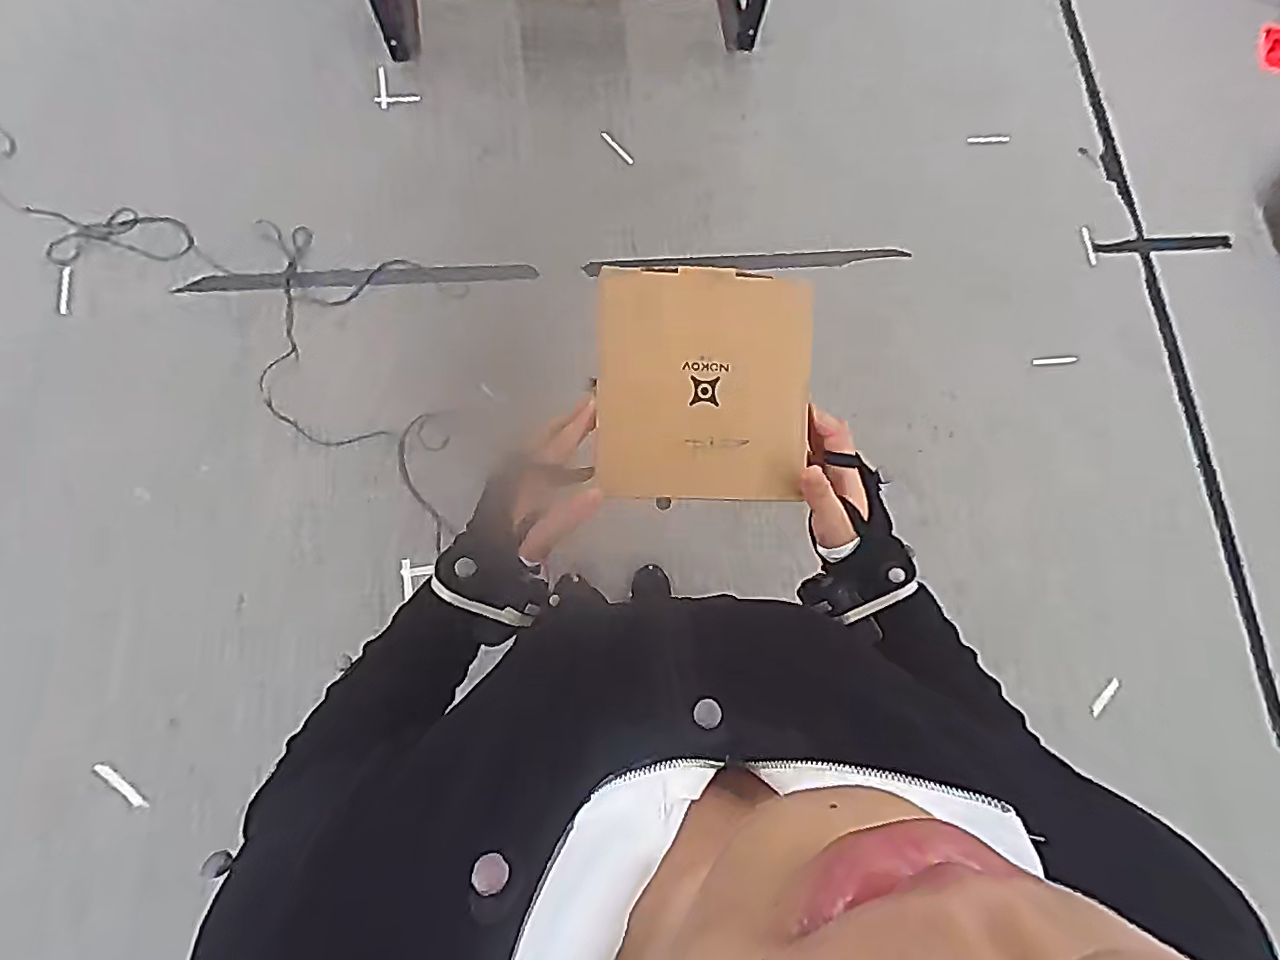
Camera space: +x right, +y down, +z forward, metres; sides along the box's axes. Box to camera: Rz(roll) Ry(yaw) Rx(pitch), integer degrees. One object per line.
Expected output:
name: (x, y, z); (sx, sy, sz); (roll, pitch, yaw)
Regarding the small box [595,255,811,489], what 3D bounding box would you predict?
small box: (0.043, -0.083, 0.494); (0.168, 0.176, 0.179); (1, 92, -4)
